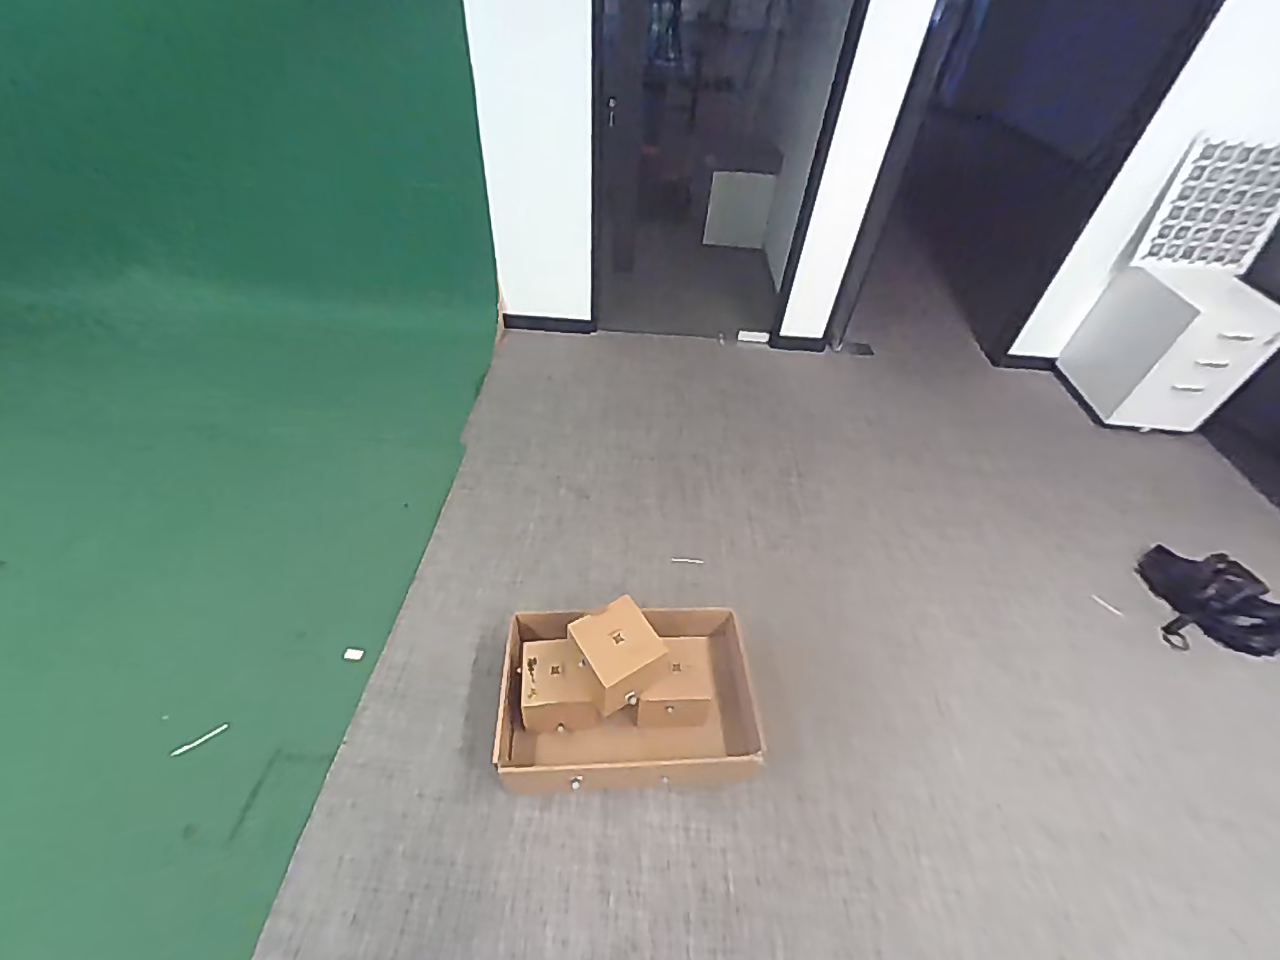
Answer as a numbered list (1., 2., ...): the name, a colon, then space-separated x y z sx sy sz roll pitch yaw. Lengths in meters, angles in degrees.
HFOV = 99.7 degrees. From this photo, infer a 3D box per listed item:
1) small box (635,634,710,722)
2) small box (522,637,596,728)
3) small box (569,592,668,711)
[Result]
1. small box: 0.075 0.515 1.401 0.179 0.176 0.168 1 45 -4
2. small box: -0.205 0.515 1.375 0.179 0.176 0.168 0 44 -9
3. small box: -0.058 0.405 1.272 0.168 0.176 0.179 -24 53 -26
